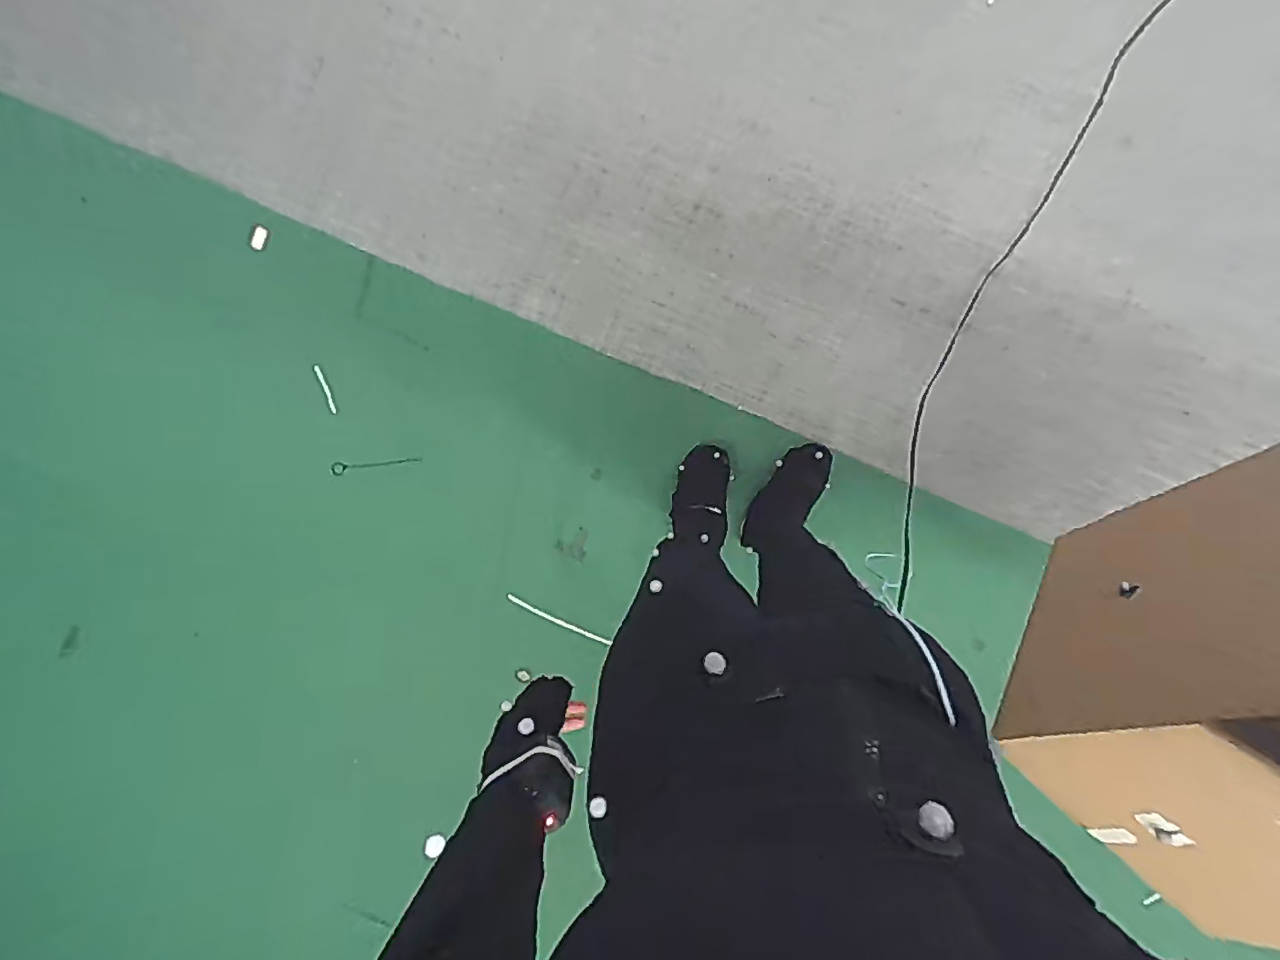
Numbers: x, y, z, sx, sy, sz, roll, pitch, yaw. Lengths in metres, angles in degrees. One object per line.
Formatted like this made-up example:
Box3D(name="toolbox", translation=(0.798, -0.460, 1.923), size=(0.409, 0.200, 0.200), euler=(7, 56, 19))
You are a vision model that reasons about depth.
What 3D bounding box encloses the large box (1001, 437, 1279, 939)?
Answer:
Box3D(name="large box", translation=(0.703, 0.231, 0.622), size=(0.320, 0.320, 0.408), euler=(43, 57, 7))
